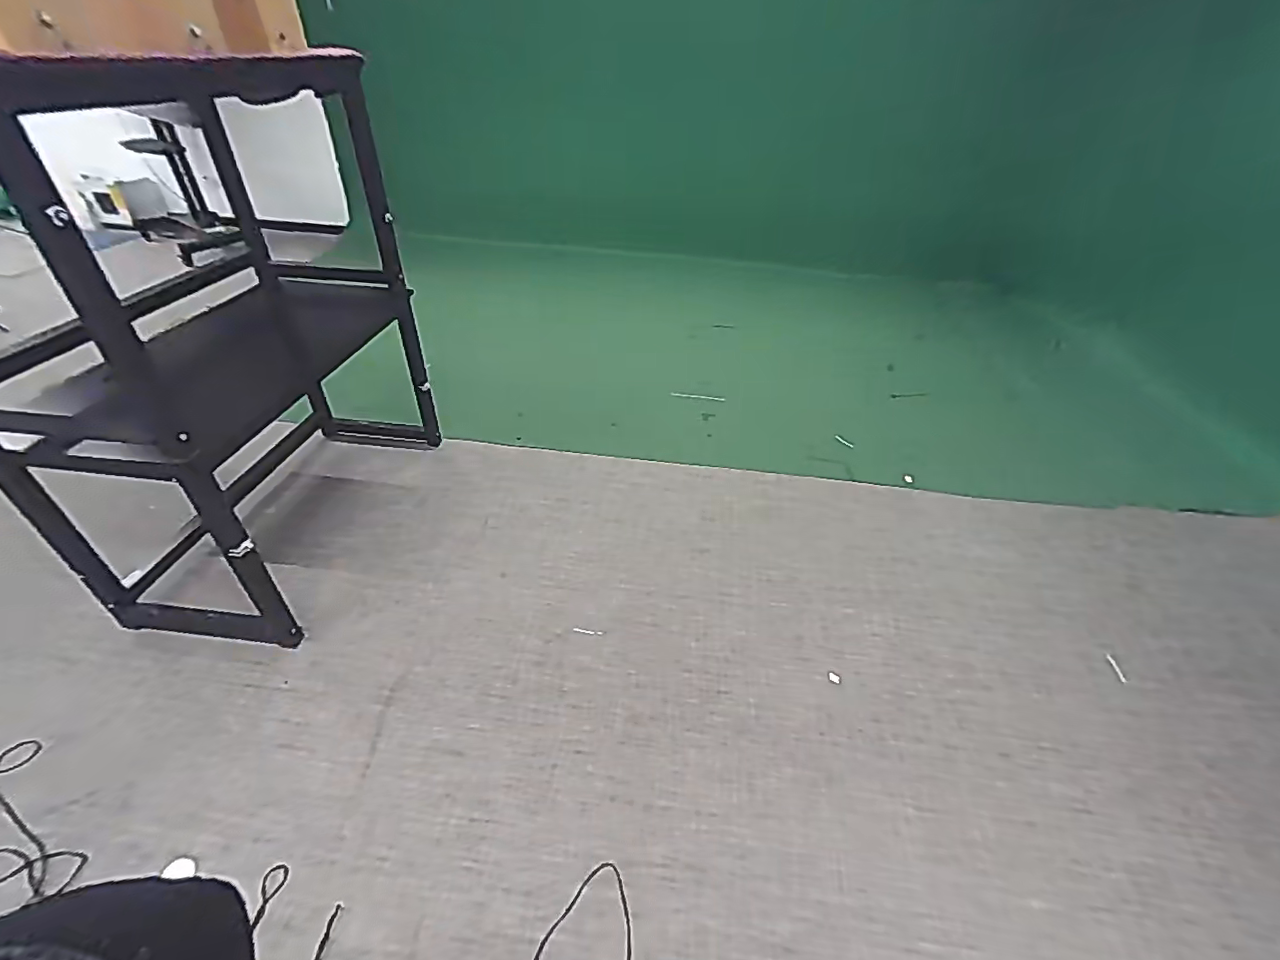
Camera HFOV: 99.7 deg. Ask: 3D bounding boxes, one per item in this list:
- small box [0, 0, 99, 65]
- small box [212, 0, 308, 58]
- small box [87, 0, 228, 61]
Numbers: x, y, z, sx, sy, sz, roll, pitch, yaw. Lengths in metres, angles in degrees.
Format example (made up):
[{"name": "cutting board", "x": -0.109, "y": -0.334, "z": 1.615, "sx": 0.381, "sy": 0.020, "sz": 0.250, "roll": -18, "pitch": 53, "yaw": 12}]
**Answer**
[{"name": "small box", "x": -1.095, "y": -0.805, "z": 0.904, "sx": 0.179, "sy": 0.176, "sz": 0.168, "roll": 5, "pitch": 40, "yaw": 3}, {"name": "small box", "x": -1.046, "y": -1.252, "z": 1.457, "sx": 0.179, "sy": 0.176, "sz": 0.168, "roll": 8, "pitch": 40, "yaw": 4}, {"name": "small box", "x": -1.075, "y": -1.039, "z": 1.195, "sx": 0.179, "sy": 0.176, "sz": 0.168, "roll": 7, "pitch": 40, "yaw": 3}]
